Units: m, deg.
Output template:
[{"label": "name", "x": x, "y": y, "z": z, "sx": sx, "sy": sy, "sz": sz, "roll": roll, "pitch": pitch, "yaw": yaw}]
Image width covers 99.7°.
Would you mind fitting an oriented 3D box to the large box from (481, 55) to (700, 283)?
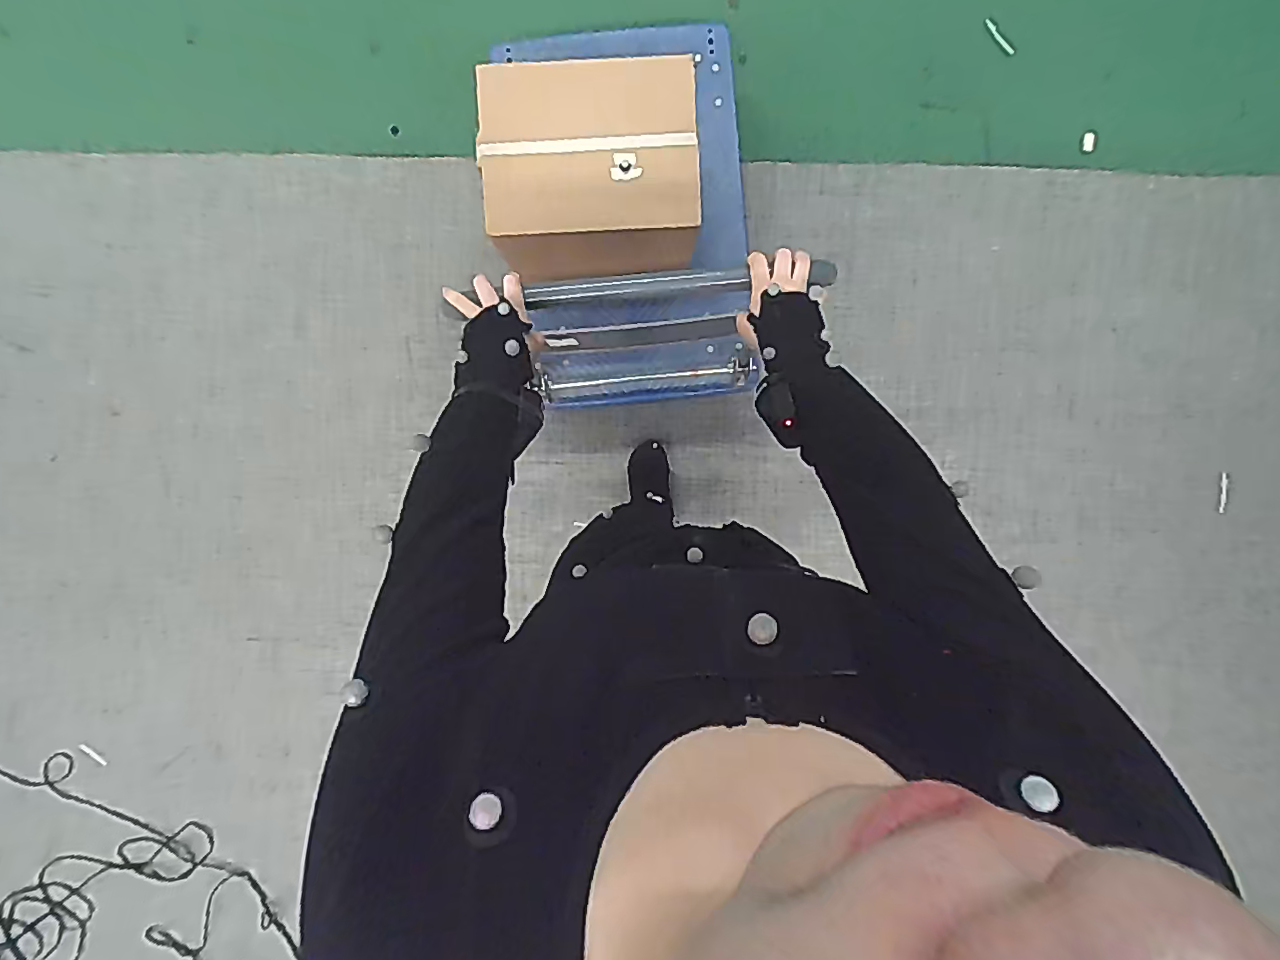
[{"label": "large box", "x": -0.096, "y": -0.638, "z": 1.165, "sx": 0.408, "sy": 0.320, "sz": 0.320, "roll": -3, "pitch": 92, "yaw": -1}]
